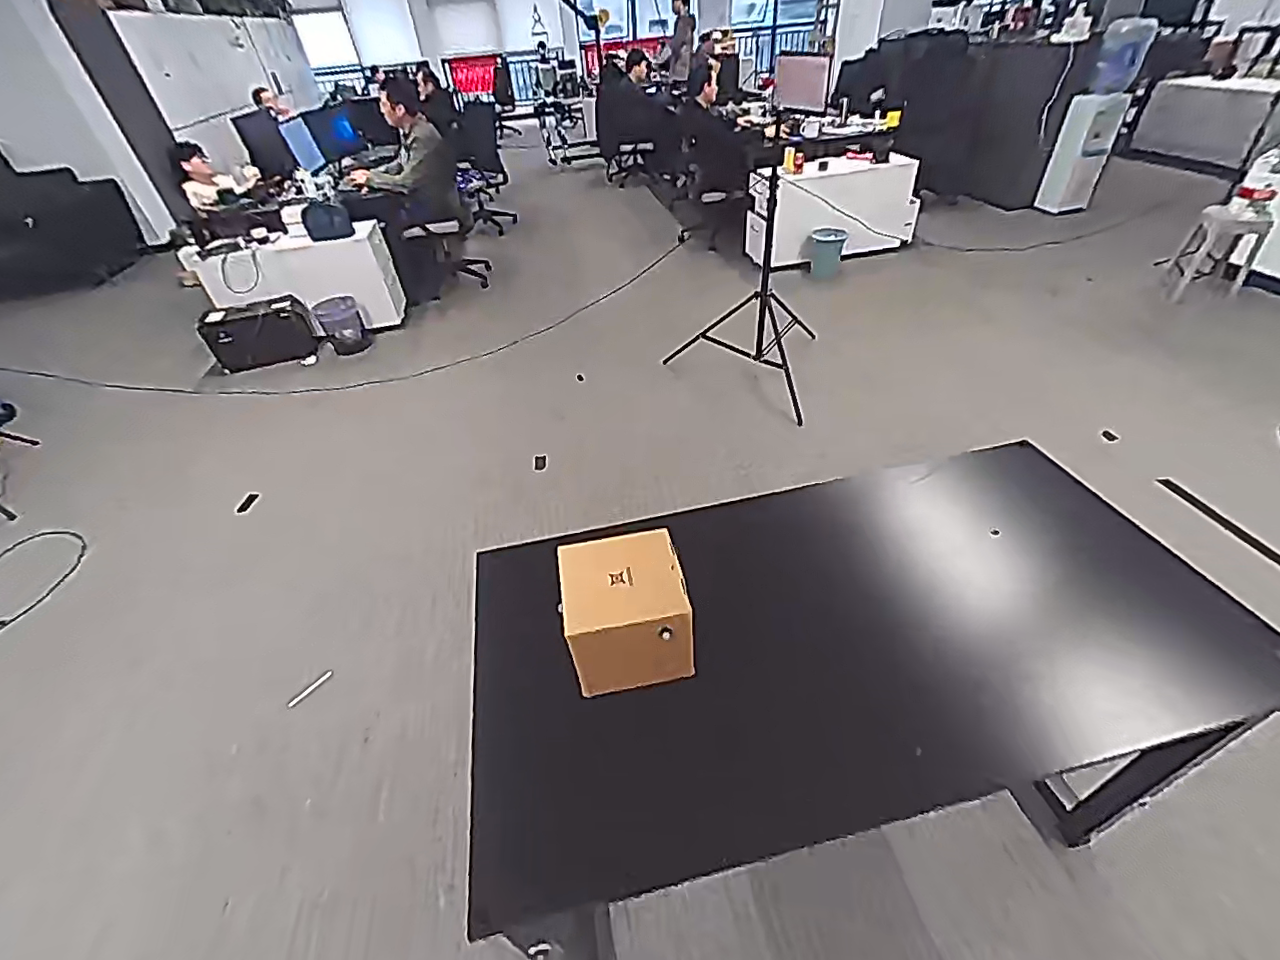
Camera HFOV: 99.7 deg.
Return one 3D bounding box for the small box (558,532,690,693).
[{"bbox_3d":[-0.024,0.209,0.845,0.179,0.176,0.168,-10,41,-6],"label":"small box"}]
